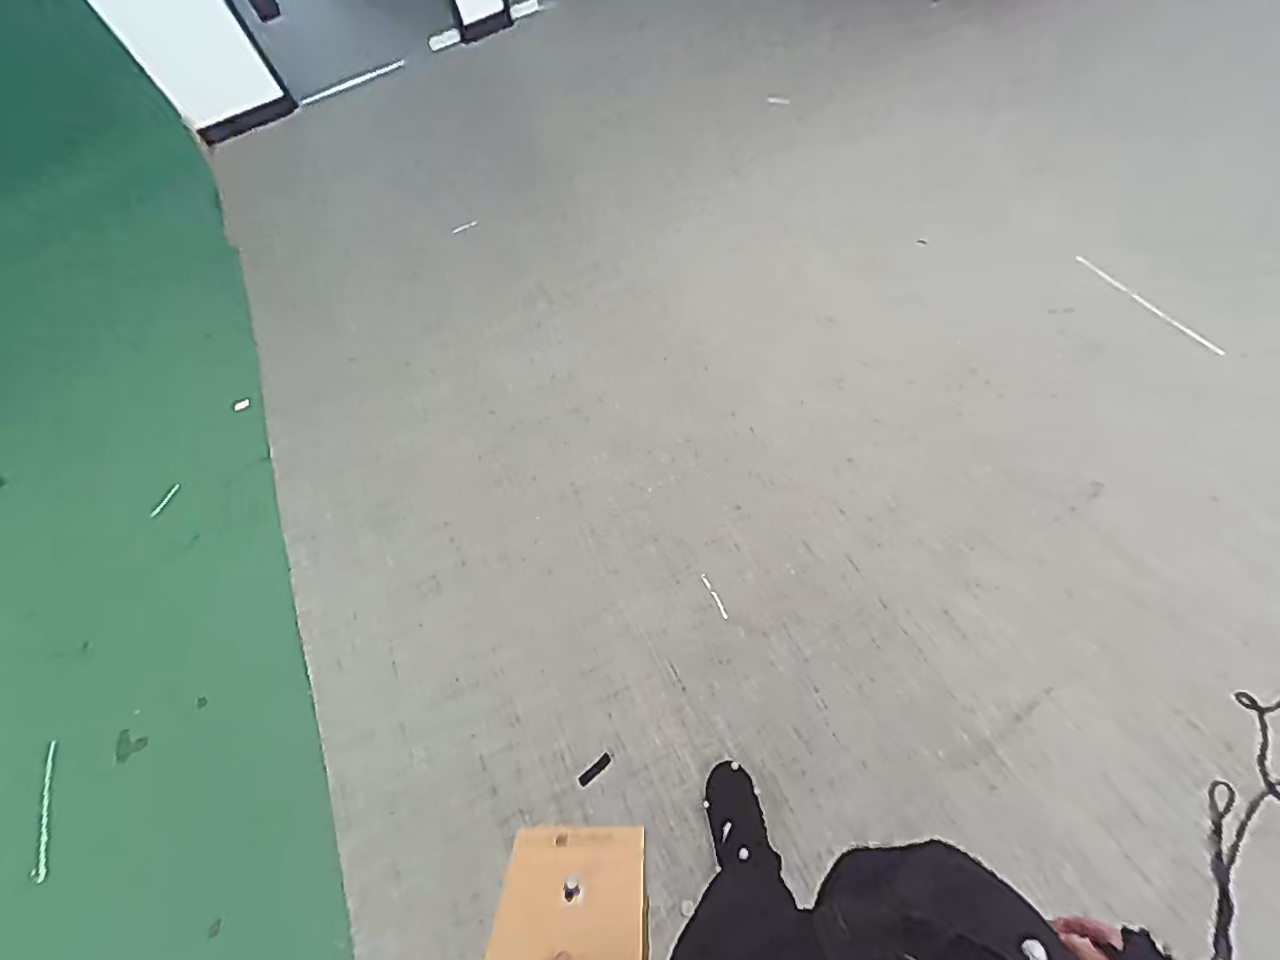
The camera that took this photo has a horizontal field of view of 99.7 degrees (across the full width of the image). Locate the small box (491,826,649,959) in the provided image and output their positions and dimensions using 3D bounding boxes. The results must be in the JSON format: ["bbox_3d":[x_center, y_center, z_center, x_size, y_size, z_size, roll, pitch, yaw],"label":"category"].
[{"bbox_3d":[-0.074,0.545,0.644,0.168,0.179,0.176,-2,21,1],"label":"small box"}]
